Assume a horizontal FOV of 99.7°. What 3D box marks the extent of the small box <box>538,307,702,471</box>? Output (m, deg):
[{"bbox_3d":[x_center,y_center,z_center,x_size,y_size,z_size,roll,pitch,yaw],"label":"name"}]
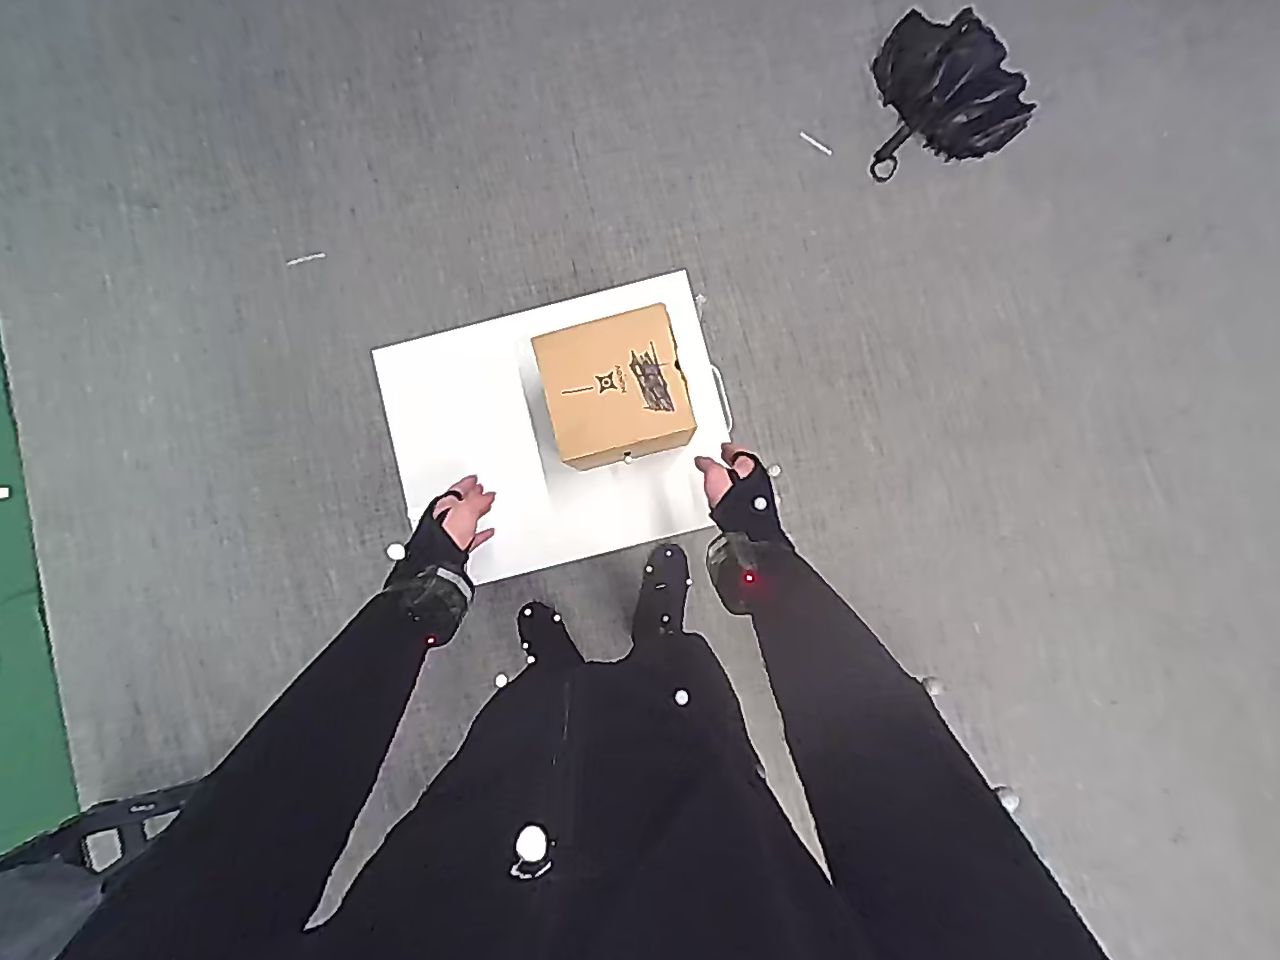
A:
[{"bbox_3d":[-0.025,-0.113,0.742,0.179,0.176,0.168,-13,86,0],"label":"small box"}]
